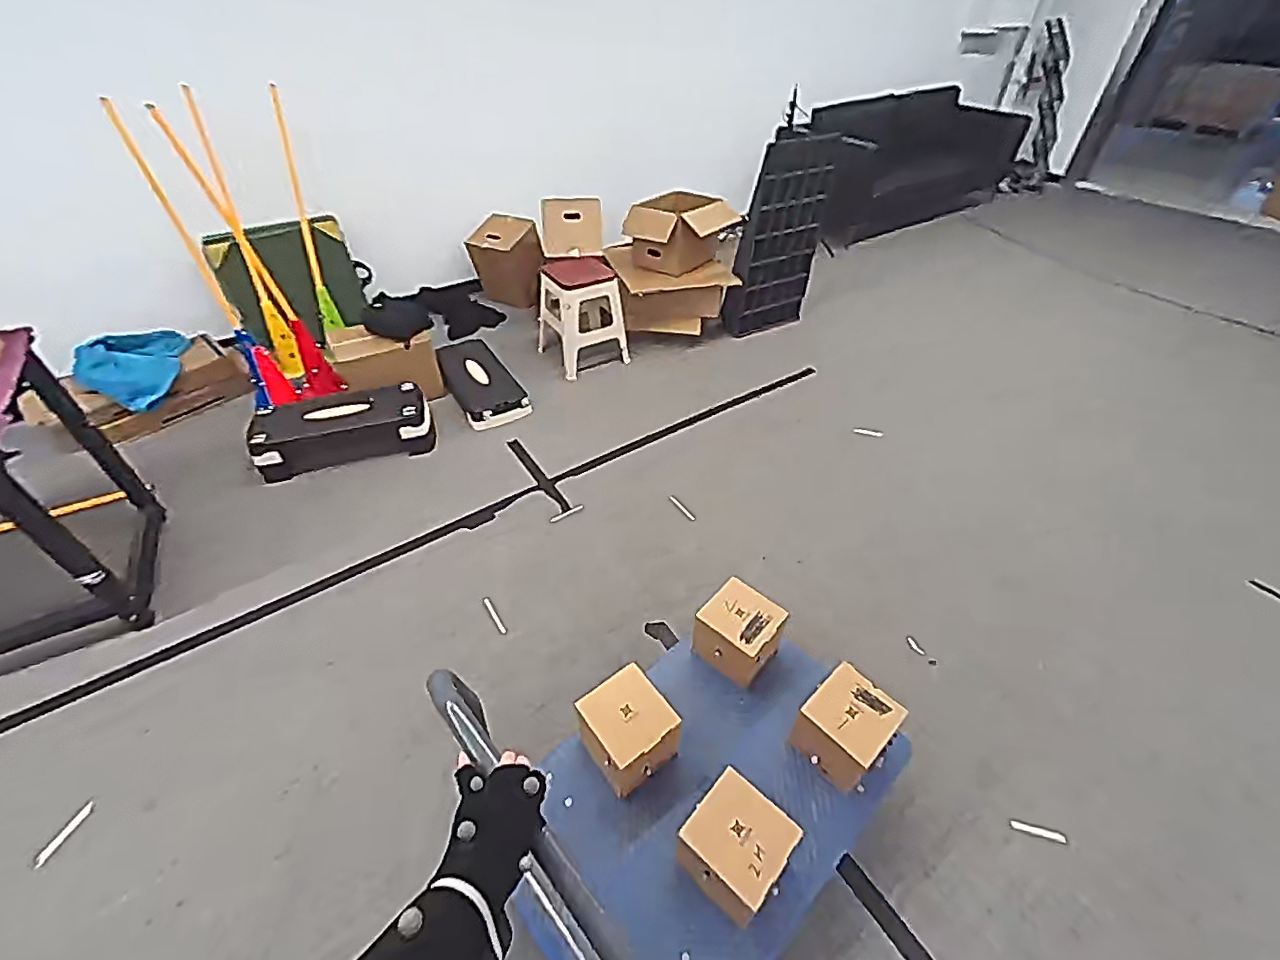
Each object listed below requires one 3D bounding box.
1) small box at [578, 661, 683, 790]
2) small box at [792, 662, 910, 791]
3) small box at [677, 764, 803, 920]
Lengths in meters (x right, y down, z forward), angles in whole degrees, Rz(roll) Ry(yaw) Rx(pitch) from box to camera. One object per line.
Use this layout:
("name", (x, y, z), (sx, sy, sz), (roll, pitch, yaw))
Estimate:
("small box", (-0.025, 0.554, 1.221), (0.168, 0.176, 0.179), (-27, 51, -28))
("small box", (0.468, 0.559, 1.226), (0.179, 0.176, 0.168), (-31, 52, -29))
("small box", (0.186, 0.710, 1.057), (0.179, 0.176, 0.168), (33, 52, 30))
